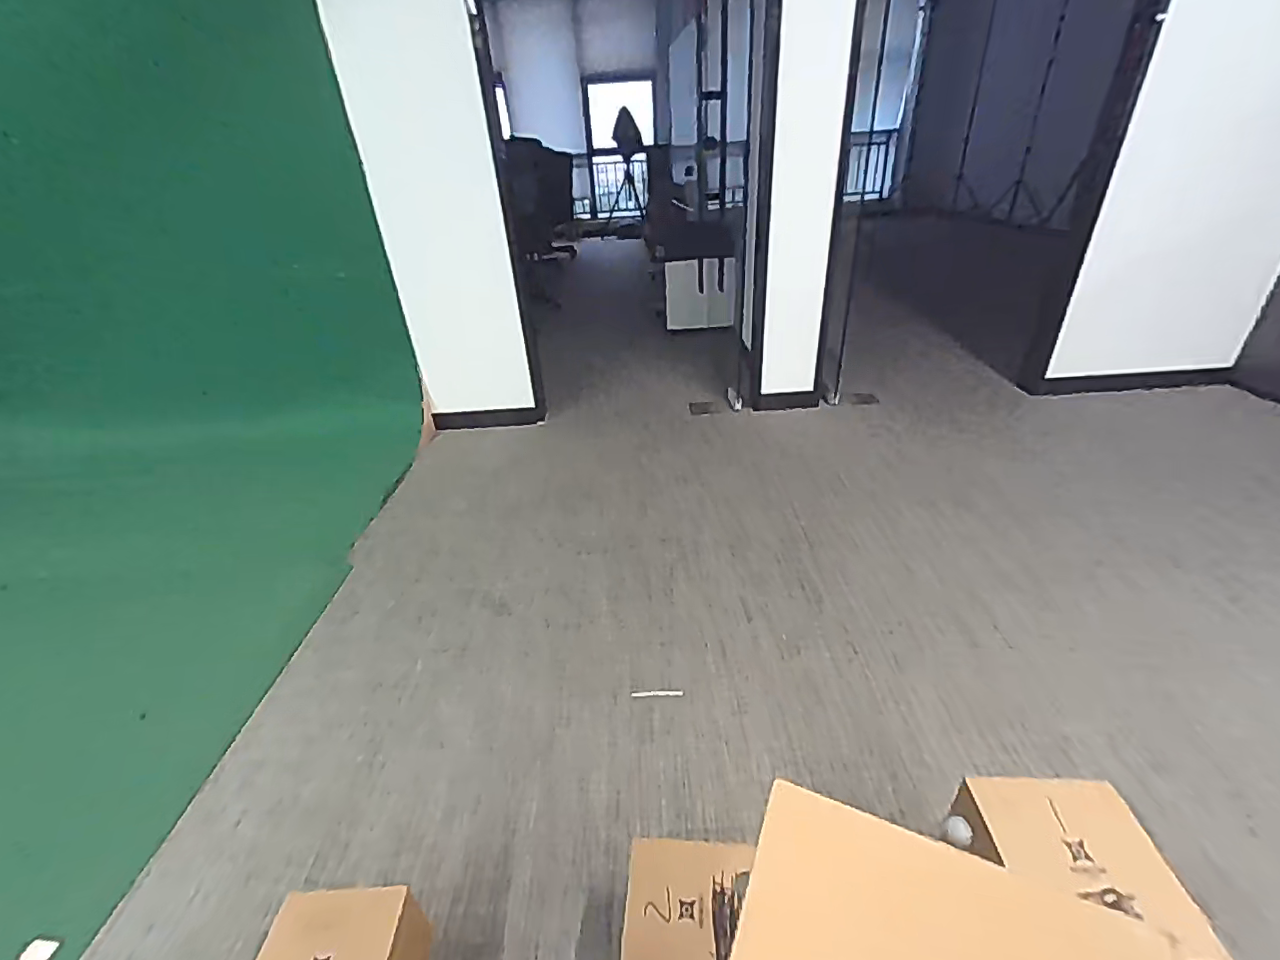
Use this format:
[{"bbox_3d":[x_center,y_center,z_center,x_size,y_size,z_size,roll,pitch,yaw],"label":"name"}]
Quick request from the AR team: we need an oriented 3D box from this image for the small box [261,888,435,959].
[{"bbox_3d":[-0.383,0.668,0.697,0.168,0.176,0.179,-3,30,0],"label":"small box"}]

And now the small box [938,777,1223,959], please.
[{"bbox_3d":[0.460,0.467,0.605,0.168,0.176,0.179,-1,30,5],"label":"small box"}]

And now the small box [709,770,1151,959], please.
[{"bbox_3d":[0.137,0.289,0.297,0.179,0.176,0.168,10,60,25],"label":"small box"}]
